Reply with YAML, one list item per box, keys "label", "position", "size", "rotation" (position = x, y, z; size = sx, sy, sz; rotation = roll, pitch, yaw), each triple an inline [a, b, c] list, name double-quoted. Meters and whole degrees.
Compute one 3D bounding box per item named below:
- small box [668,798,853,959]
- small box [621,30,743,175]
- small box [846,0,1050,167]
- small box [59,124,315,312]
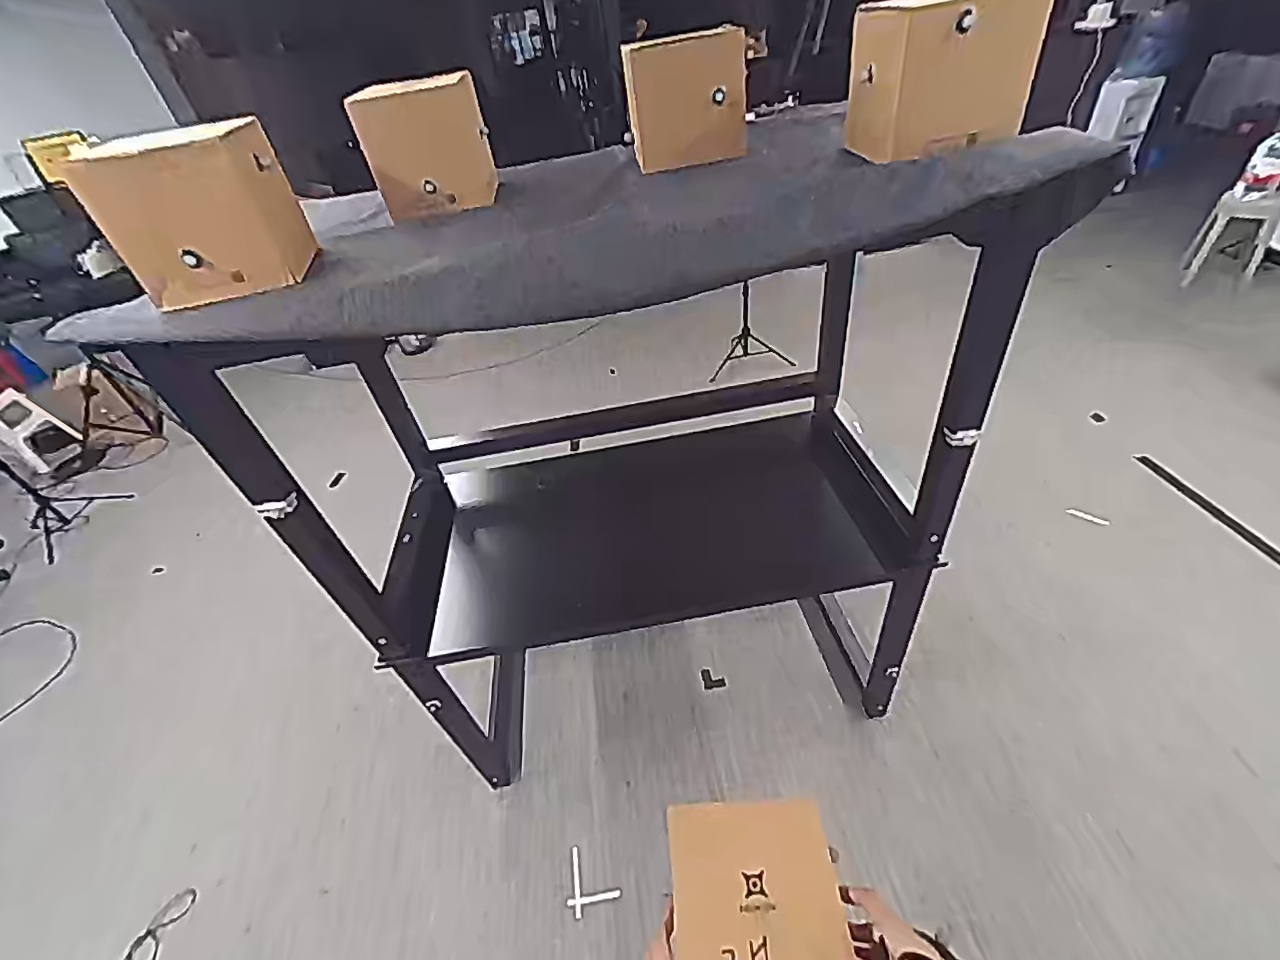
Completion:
- label: "small box"
  position: [0.118, 0.471, 0.580]
  size: [0.168, 0.176, 0.179]
  rotation: [-5, 39, 3]
- label: "small box"
  position: [0.068, -0.628, 0.900]
  size: [0.179, 0.176, 0.168]
  rotation: [-9, 40, 1]
- label: "small box"
  position: [0.386, -0.531, 0.717]
  size: [0.168, 0.176, 0.179]
  rotation: [-9, 40, 3]
- label: "small box"
  position: [-0.548, -0.336, 0.692]
  size: [0.168, 0.176, 0.179]
  rotation: [-16, 42, -8]
